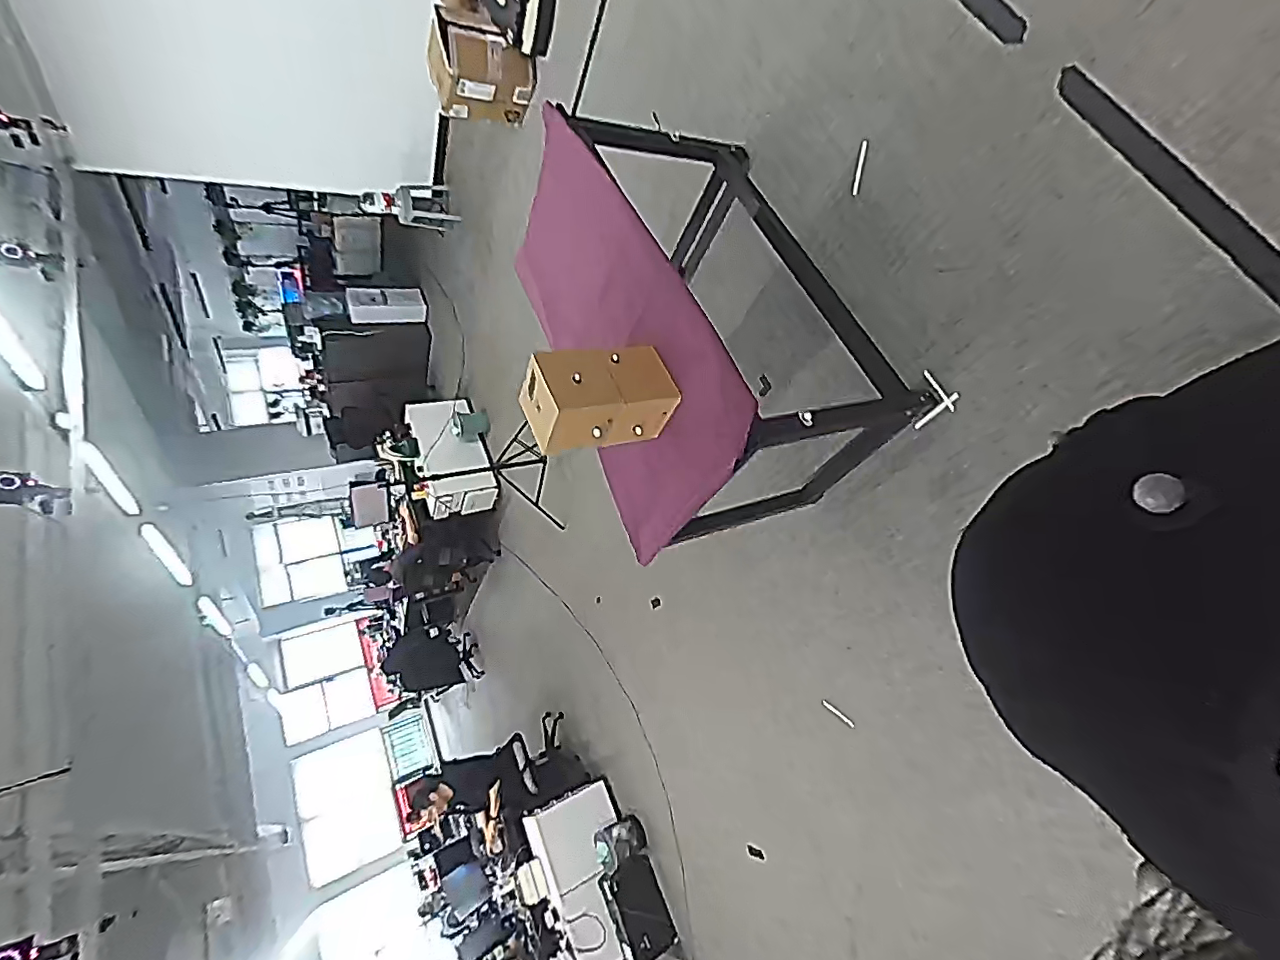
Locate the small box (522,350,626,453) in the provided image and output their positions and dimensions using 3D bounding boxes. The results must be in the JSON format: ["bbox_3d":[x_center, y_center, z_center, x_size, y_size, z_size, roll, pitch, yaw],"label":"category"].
[{"bbox_3d":[-0.159,-0.188,1.273,0.179,0.176,0.168,63,146,23],"label":"small box"}]

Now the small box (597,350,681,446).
[{"bbox_3d":[-0.022,-0.213,1.360,0.179,0.176,0.168,63,146,24],"label":"small box"}]
